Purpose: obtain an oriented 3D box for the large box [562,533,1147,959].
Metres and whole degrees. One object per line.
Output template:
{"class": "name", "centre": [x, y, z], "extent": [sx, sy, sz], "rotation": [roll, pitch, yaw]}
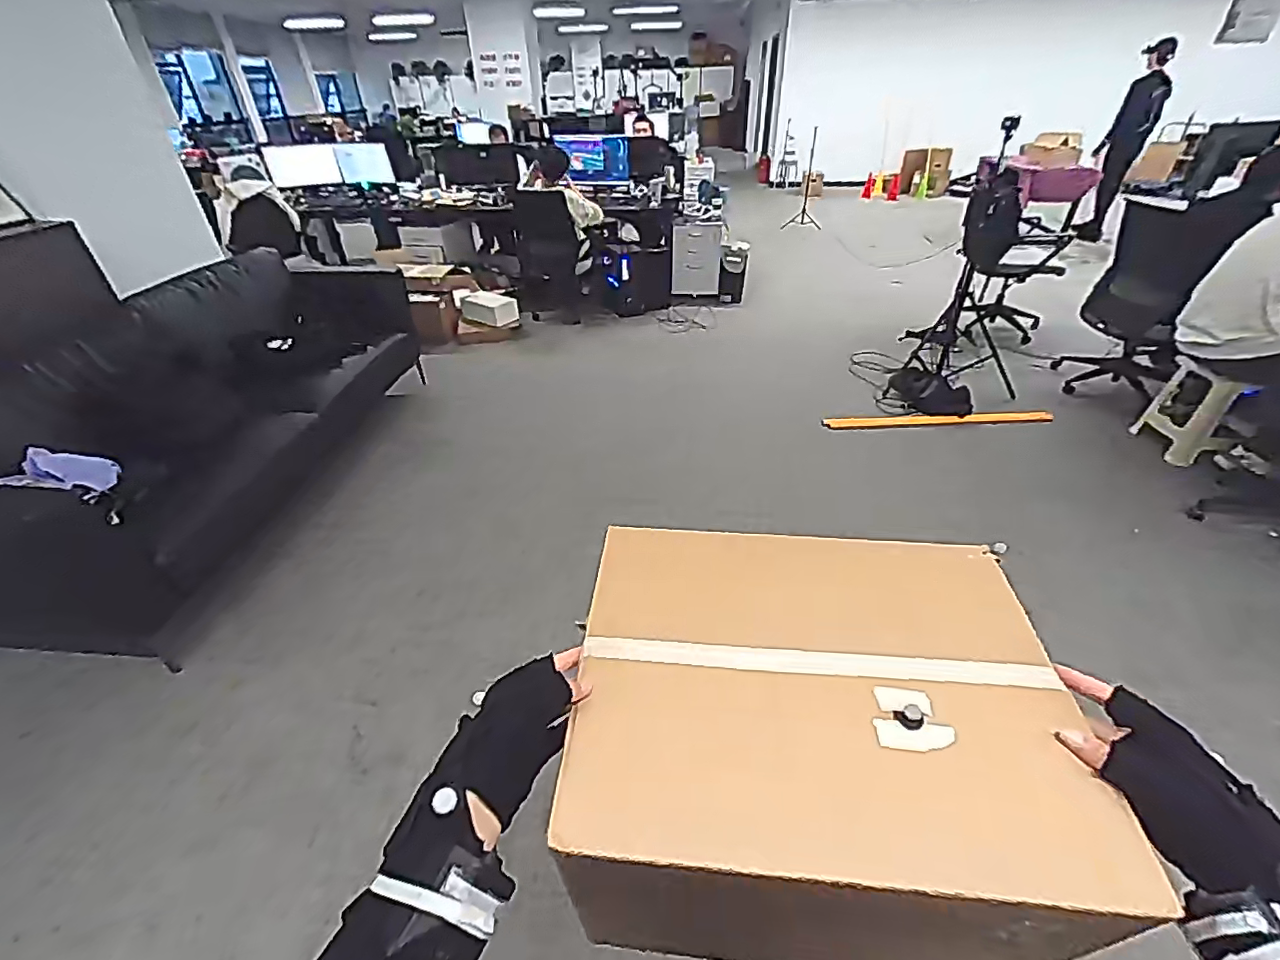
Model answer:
{"class": "large box", "centre": [0.155, 0.276, 0.578], "extent": [0.408, 0.320, 0.320], "rotation": [2, 41, 5]}
